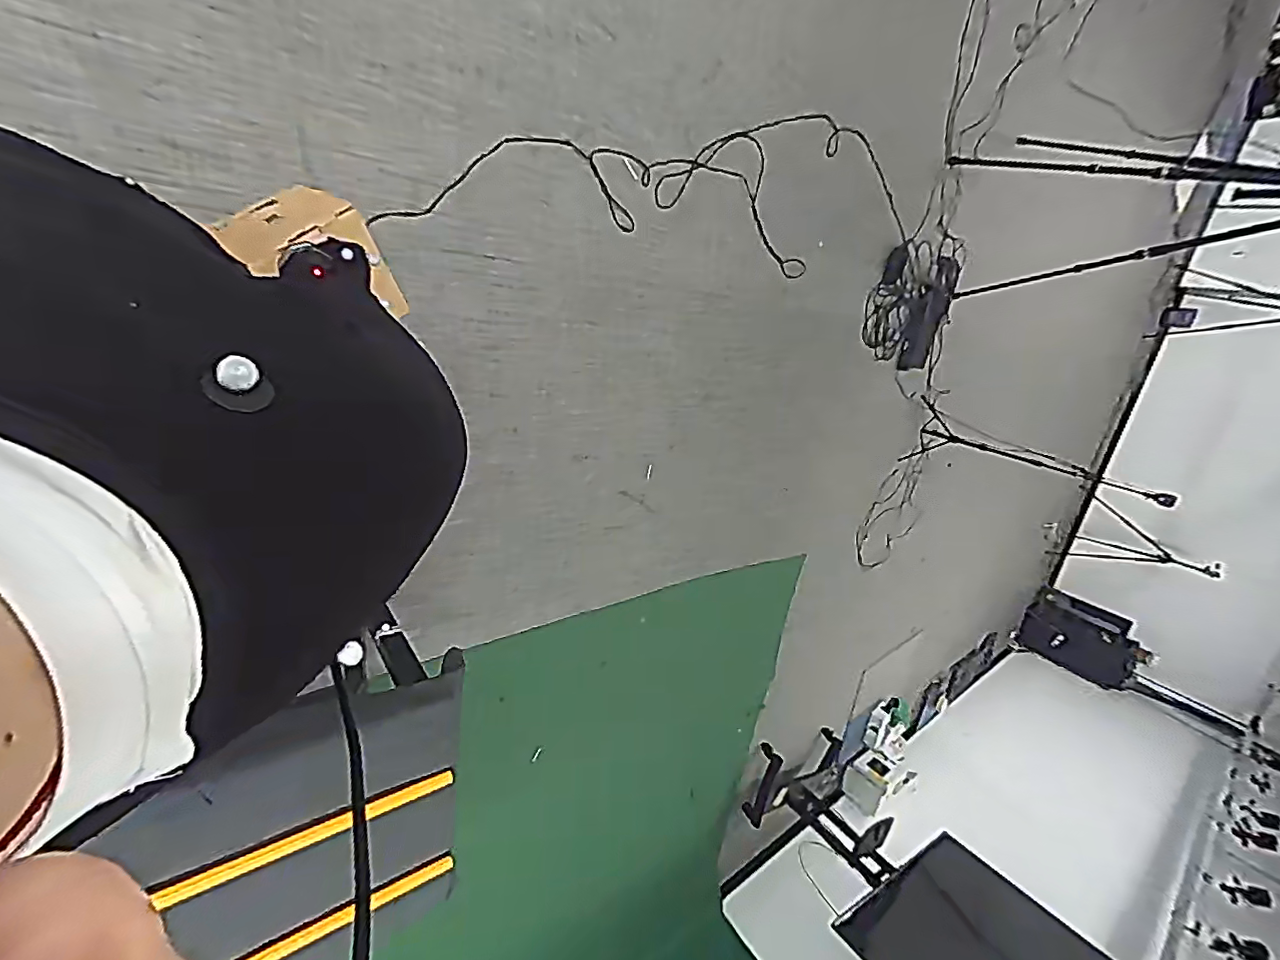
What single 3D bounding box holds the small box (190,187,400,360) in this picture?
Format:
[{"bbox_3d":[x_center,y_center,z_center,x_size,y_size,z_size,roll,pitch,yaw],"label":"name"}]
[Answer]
[{"bbox_3d":[-0.502,-0.305,0.810,0.168,0.179,0.176,-48,148,-25],"label":"small box"}]
